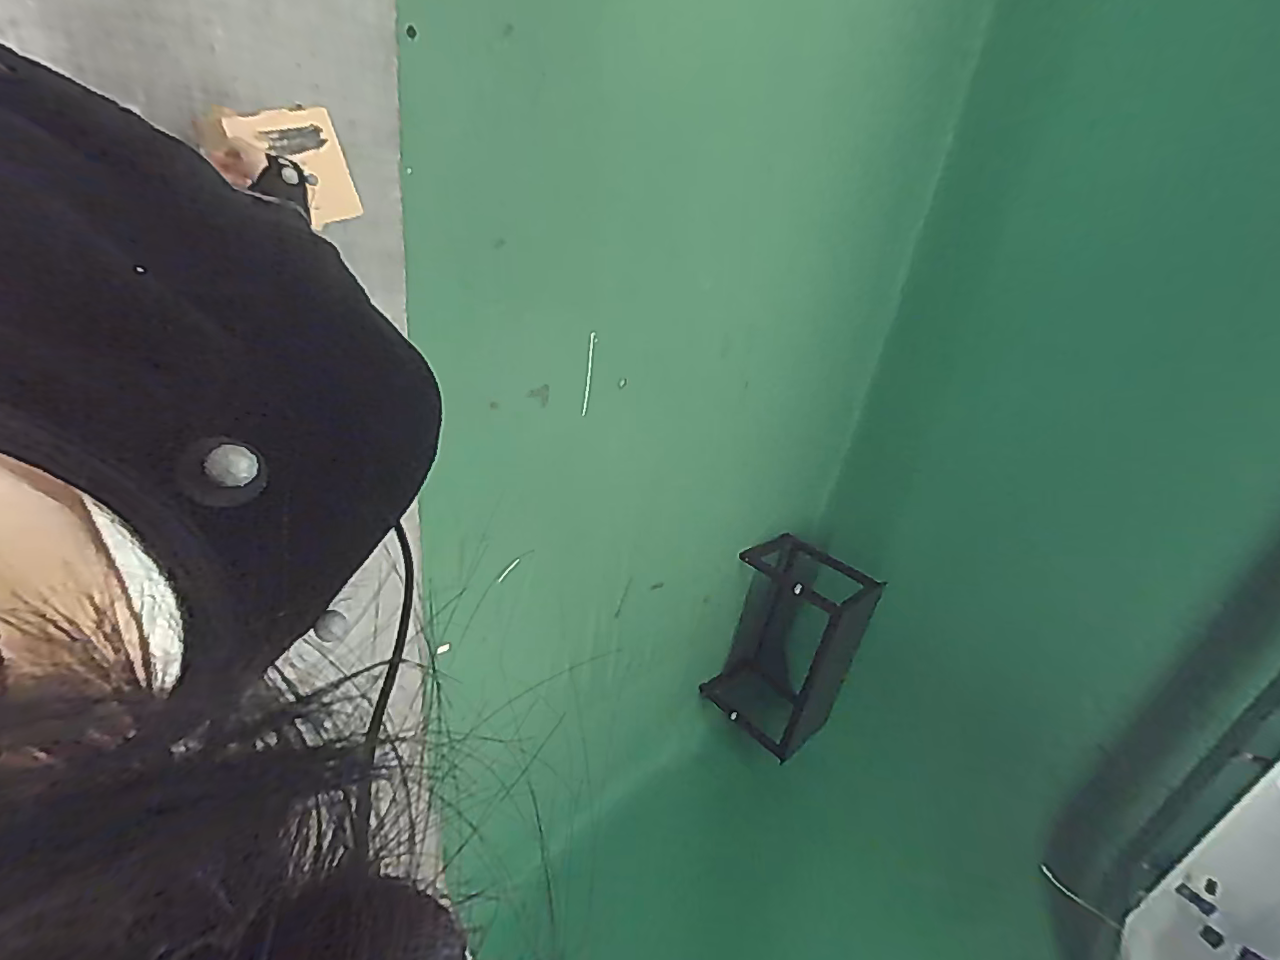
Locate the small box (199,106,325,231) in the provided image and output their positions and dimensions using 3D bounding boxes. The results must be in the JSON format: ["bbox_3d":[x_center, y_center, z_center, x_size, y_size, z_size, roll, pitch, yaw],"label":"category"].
[{"bbox_3d":[-0.766,-0.621,1.089,0.179,0.176,0.168,-3,116,-47],"label":"small box"}]
